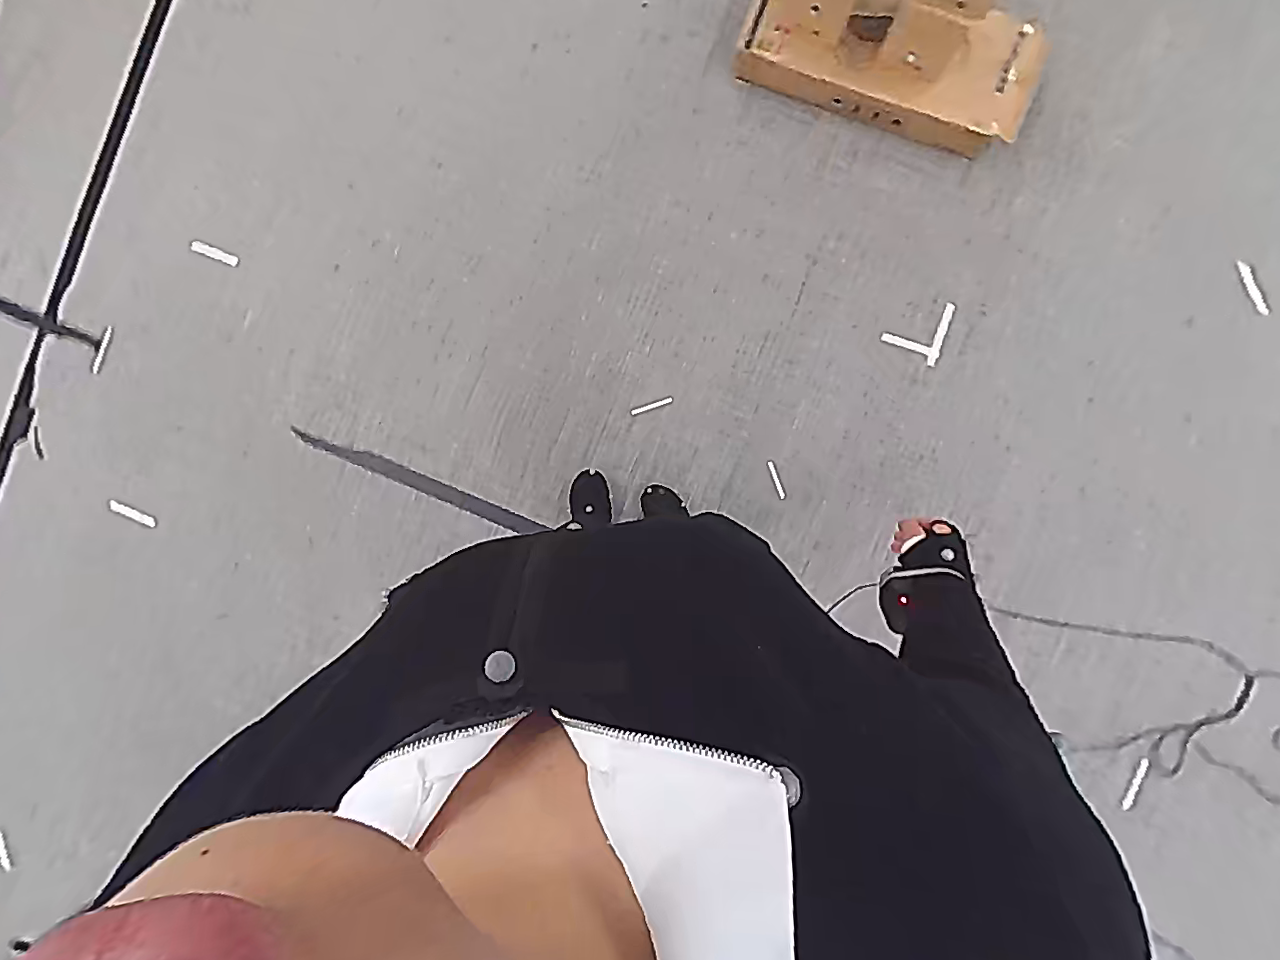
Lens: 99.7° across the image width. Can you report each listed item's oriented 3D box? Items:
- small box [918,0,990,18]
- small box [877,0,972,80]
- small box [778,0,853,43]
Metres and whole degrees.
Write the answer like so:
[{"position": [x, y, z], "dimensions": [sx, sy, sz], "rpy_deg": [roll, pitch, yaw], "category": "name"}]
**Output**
[{"position": [0.695, -1.124, 1.114], "dimensions": [0.168, 0.176, 0.179], "rpy_deg": [21, 91, 4], "category": "small box"}, {"position": [0.693, -1.112, 1.281], "dimensions": [0.168, 0.176, 0.179], "rpy_deg": [25, 91, 4], "category": "small box"}, {"position": [0.444, -1.211, 1.294], "dimensions": [0.168, 0.176, 0.179], "rpy_deg": [22, 92, 2], "category": "small box"}]
